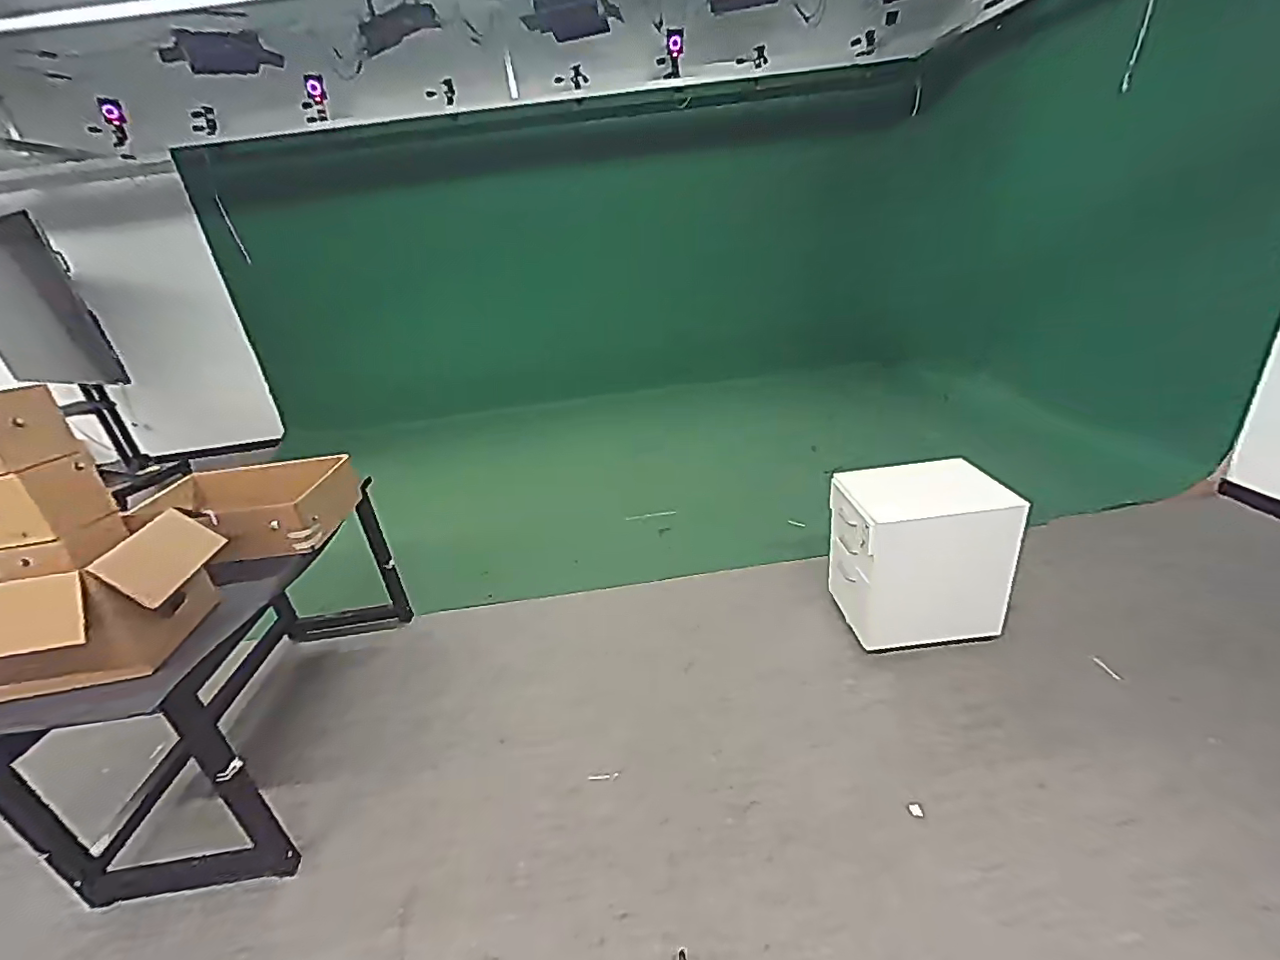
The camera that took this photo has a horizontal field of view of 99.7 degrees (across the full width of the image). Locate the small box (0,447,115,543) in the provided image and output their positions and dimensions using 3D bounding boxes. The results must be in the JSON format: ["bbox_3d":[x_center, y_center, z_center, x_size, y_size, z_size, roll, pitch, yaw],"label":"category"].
[{"bbox_3d":[-1.411,0.038,1.270,0.168,0.176,0.179,-9,21,0],"label":"small box"}]

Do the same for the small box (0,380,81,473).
[{"bbox_3d":[-1.437,-0.112,1.210,0.168,0.176,0.179,-8,21,1],"label":"small box"}]
